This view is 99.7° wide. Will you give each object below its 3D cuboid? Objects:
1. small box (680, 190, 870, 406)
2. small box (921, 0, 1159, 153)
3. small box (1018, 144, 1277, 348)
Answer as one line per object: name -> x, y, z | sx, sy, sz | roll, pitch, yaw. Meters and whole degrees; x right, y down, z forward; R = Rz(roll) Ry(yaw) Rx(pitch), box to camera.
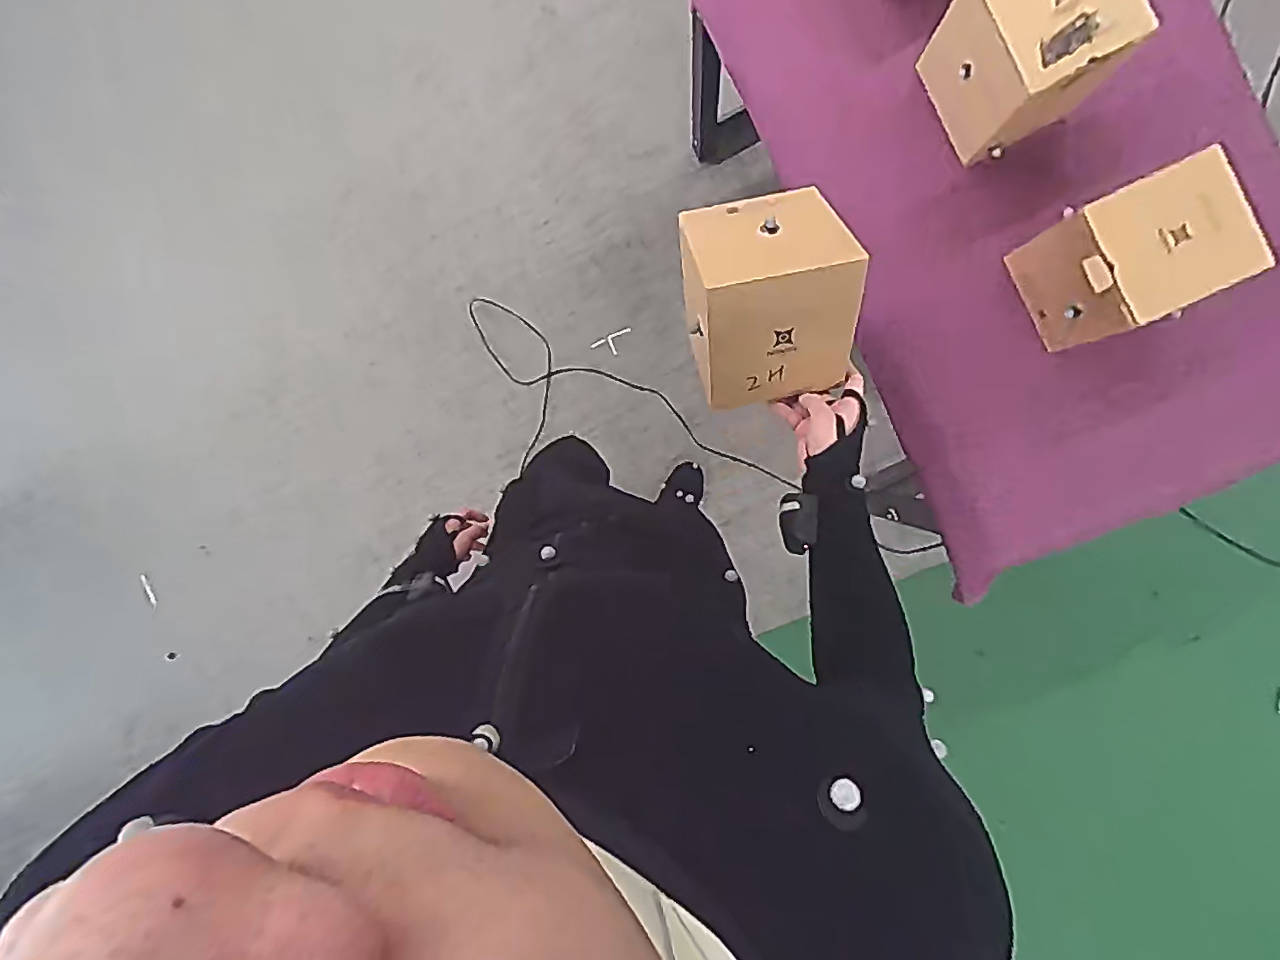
small box -> 0.145, -0.220, 0.642 | 0.168, 0.179, 0.176 | -10, 52, 1
small box -> 0.524, -0.588, 0.737 | 0.168, 0.176, 0.179 | -26, 89, 6
small box -> 0.662, -0.299, 0.737 | 0.179, 0.176, 0.168 | -25, 90, 6
